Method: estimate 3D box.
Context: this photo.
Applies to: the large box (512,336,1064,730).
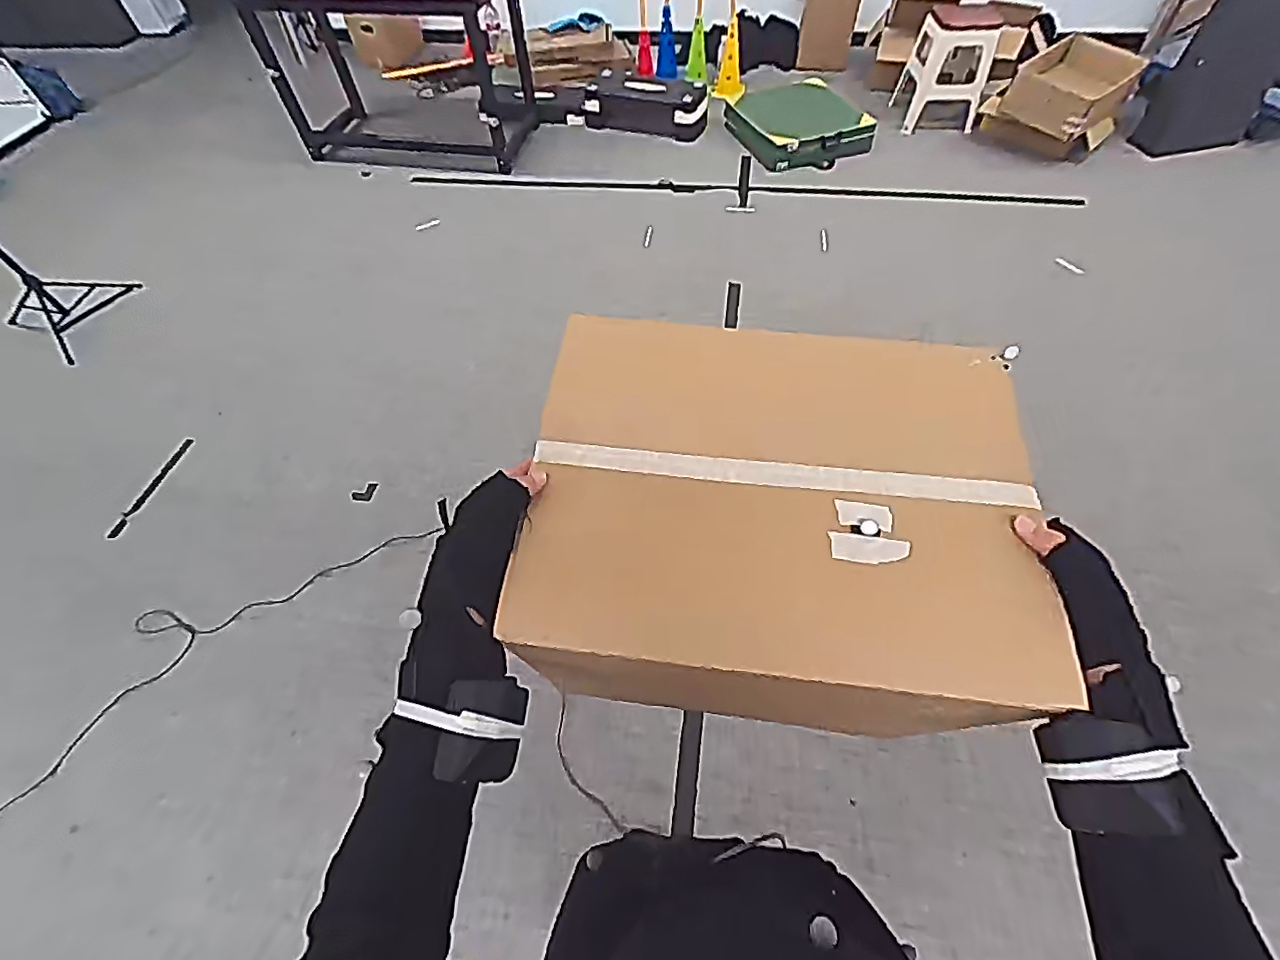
[{"bbox_3d":[0.116,0.075,0.587,0.408,0.320,0.320,5,63,4],"label":"large box"}]
